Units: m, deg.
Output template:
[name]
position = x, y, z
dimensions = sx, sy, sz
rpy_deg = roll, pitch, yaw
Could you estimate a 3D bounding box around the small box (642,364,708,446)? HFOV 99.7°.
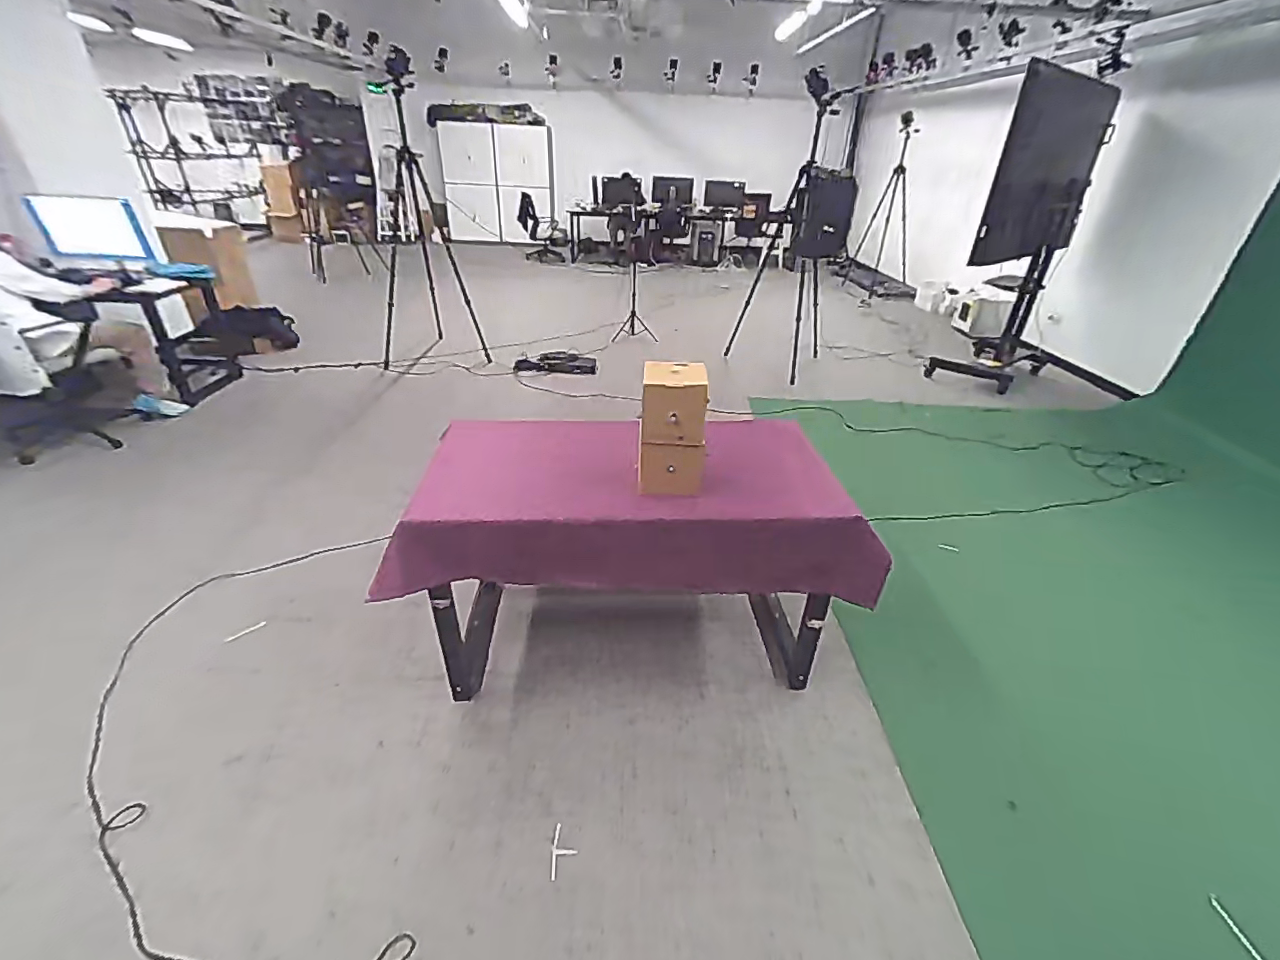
[small box]
position = 0.092, -0.201, 1.446
dimensions = 0.168, 0.176, 0.179
rpy_deg = 3, 32, 1
